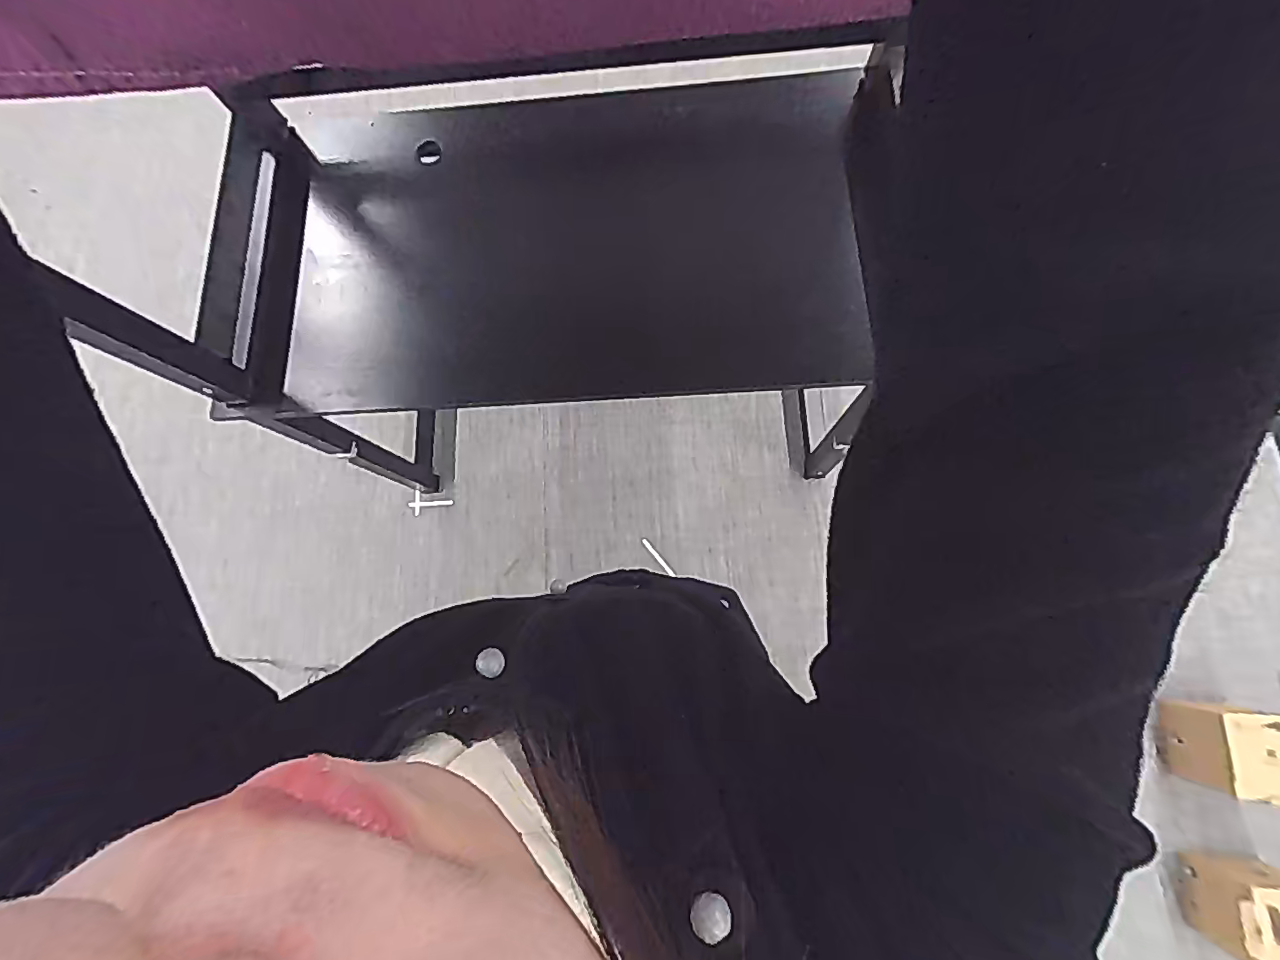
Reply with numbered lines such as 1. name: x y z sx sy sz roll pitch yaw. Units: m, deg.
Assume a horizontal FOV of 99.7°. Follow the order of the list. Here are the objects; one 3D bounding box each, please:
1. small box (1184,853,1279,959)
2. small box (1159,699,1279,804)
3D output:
1. small box: 1.344 0.943 1.175 0.179 0.176 0.168 3 78 4
2. small box: 1.360 0.619 1.245 0.168 0.176 0.179 2 78 5
